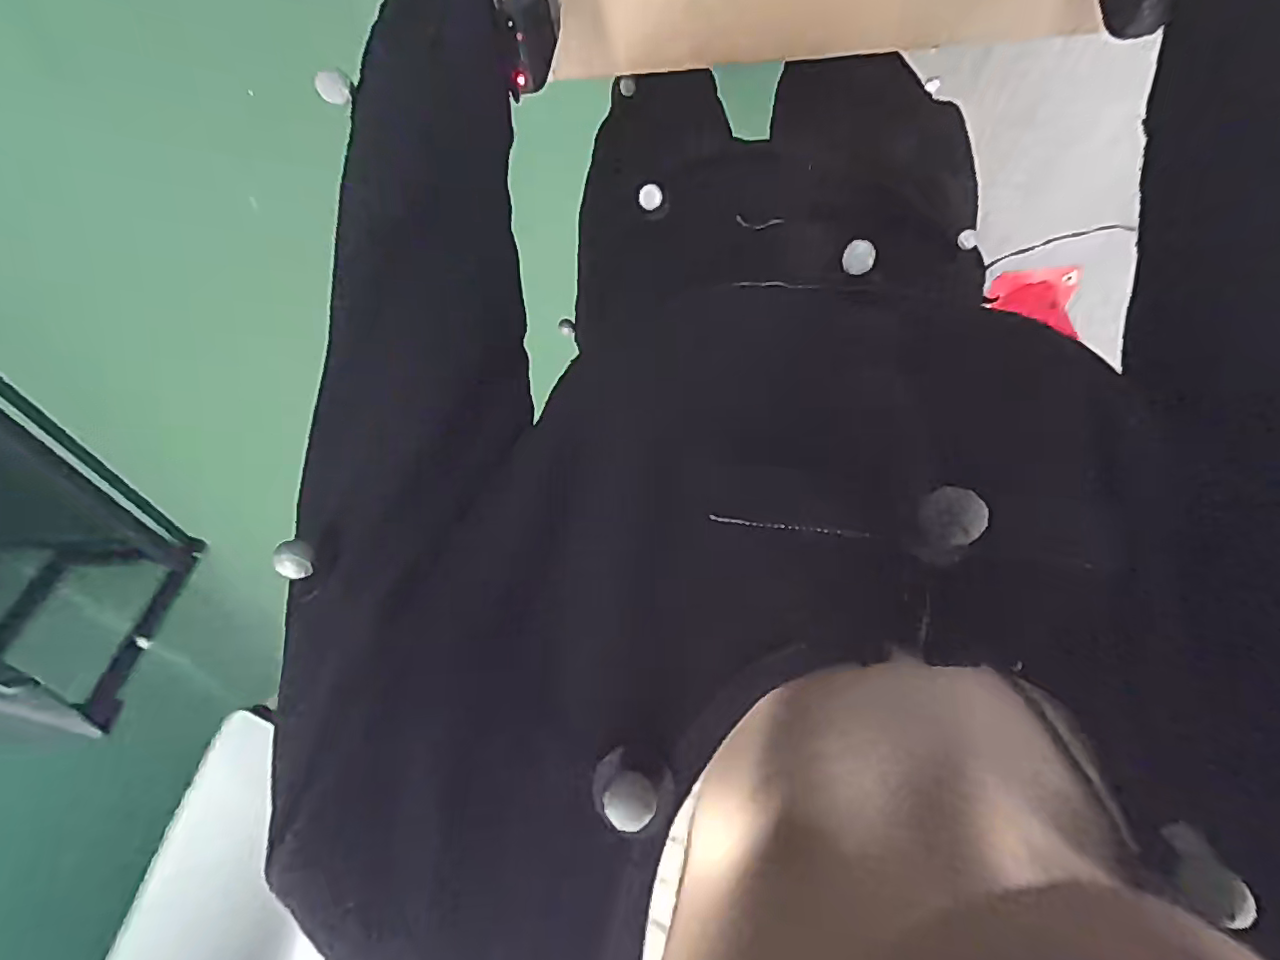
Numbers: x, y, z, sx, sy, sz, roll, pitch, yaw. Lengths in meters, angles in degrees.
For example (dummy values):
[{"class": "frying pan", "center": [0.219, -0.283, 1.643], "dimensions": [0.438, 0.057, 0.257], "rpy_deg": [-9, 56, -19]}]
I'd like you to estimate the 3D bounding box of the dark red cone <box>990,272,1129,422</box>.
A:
[{"class": "dark red cone", "center": [0.962, -0.280, 1.194], "dimensions": [0.201, 0.394, 0.202], "rpy_deg": [-3, 139, 9]}]
